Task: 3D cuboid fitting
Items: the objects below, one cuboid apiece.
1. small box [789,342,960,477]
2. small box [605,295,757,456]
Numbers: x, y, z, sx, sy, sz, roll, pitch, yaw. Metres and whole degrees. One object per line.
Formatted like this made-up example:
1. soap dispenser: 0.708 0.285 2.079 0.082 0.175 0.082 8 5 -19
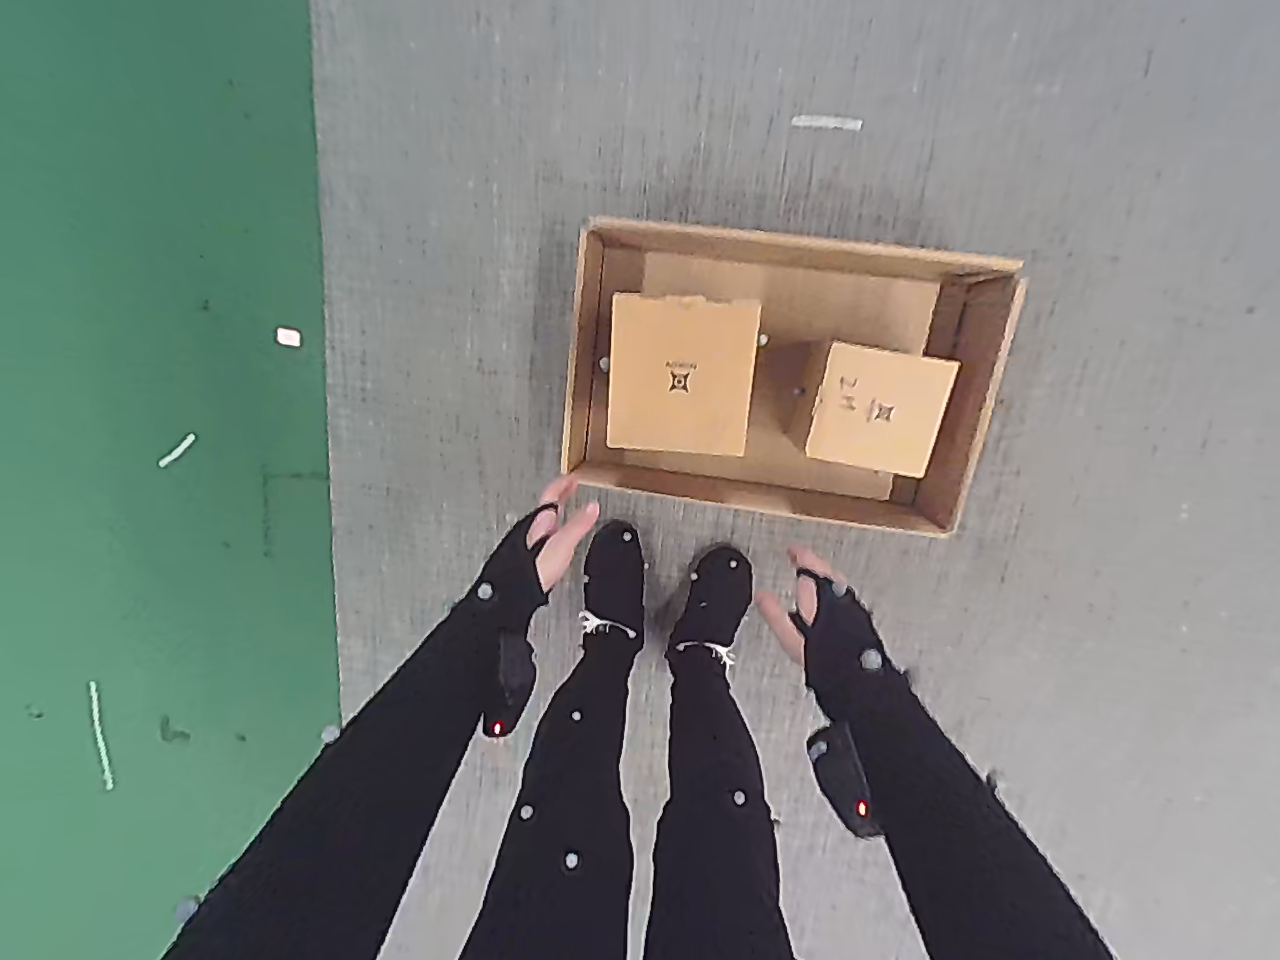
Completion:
1. small box: 0.343 -0.117 0.831 0.179 0.176 0.168 11 105 5
2. small box: 0.052 -0.137 0.695 0.168 0.176 0.179 4 104 5
